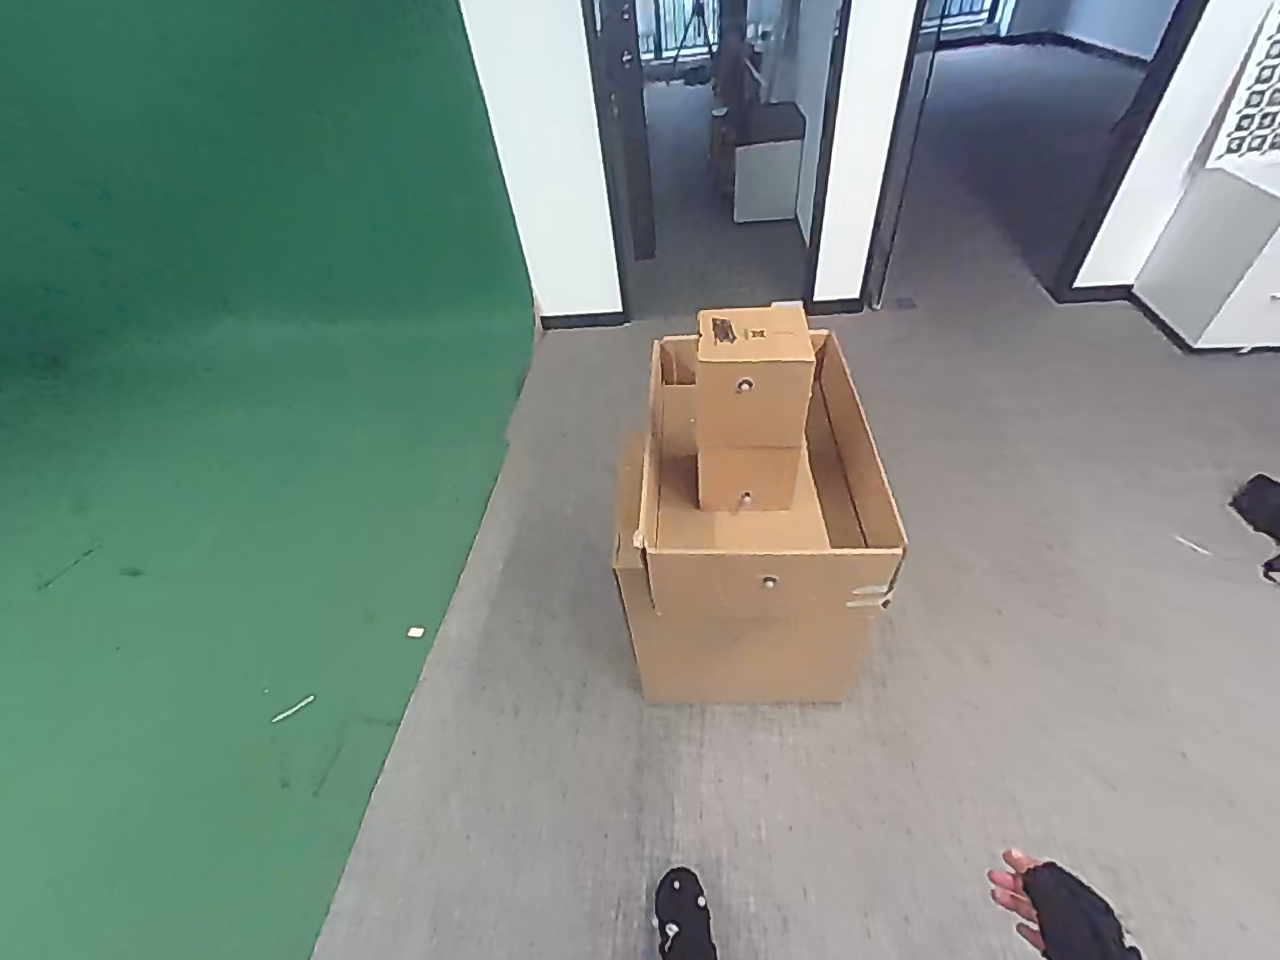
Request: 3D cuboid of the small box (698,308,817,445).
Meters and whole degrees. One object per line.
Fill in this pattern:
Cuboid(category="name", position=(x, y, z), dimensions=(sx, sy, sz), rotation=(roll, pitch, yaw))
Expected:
Cuboid(category="small box", position=(0.190, -0.172, 0.909), dimensions=(0.179, 0.176, 0.168), rotation=(2, 44, 8))

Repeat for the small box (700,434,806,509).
Cuboid(category="small box", position=(0.203, -0.057, 1.026), dimensions=(0.179, 0.176, 0.168), rotation=(0, 43, 6))
